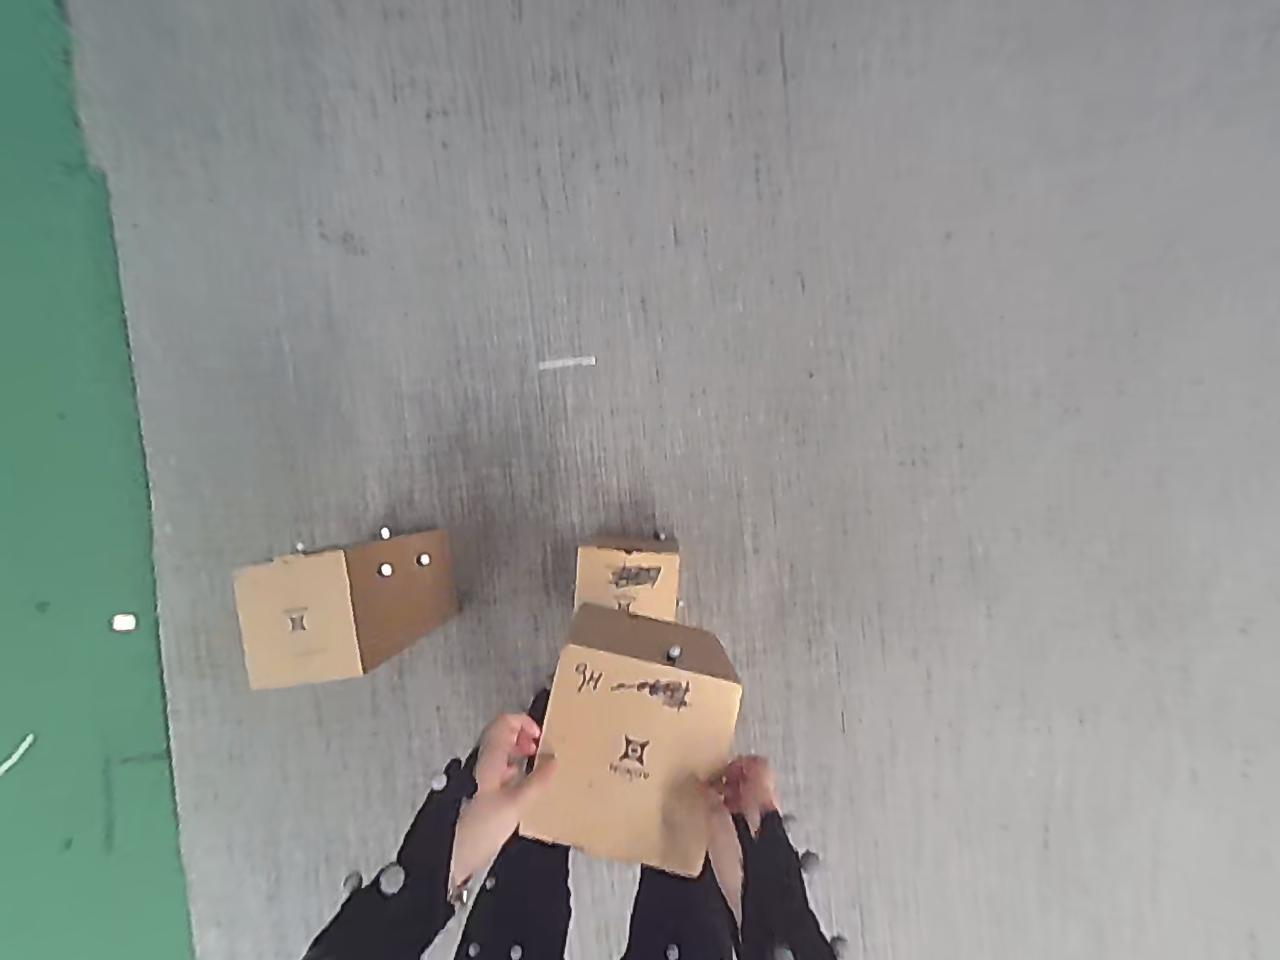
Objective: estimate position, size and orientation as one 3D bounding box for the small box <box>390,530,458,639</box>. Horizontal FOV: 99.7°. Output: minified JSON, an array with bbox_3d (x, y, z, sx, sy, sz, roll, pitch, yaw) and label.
[{"bbox_3d":[-0.445,0.187,0.968,0.168,0.176,0.179,-10,90,3],"label":"small box"}]

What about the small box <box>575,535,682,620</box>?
[{"bbox_3d":[-0.017,0.195,0.941,0.168,0.176,0.179,5,91,4],"label":"small box"}]

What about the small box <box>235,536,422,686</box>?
[{"bbox_3d":[-0.449,0.182,0.805,0.168,0.176,0.179,-9,90,5],"label":"small box"}]

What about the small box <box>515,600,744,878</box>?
[{"bbox_3d":[-0.008,0.238,0.543,0.168,0.176,0.179,14,89,0],"label":"small box"}]
